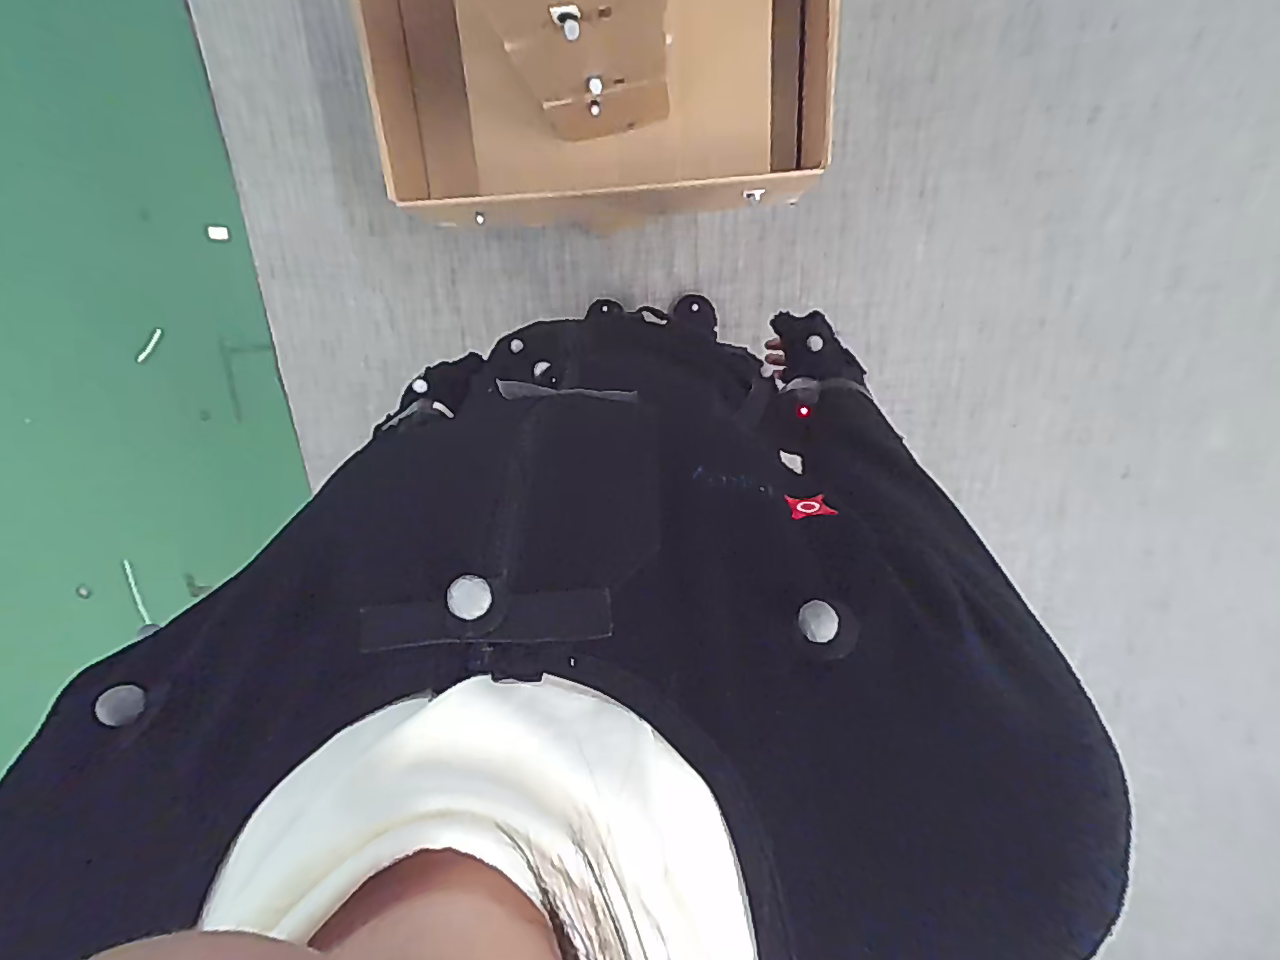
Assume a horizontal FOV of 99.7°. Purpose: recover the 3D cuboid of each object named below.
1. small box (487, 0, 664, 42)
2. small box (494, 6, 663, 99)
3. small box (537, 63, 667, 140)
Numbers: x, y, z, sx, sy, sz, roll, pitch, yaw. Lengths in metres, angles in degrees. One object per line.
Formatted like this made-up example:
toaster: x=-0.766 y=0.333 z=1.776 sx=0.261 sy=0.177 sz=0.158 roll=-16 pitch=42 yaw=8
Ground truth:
small box: x=-0.072 y=-0.500 z=0.430 sx=0.168 sy=0.176 sz=0.179 roll=-7 pitch=109 yaw=8
small box: x=-0.067 y=-0.552 z=0.583 sx=0.168 sy=0.176 sz=0.179 roll=-7 pitch=108 yaw=7
small box: x=-0.056 y=-0.601 z=0.740 sx=0.168 sy=0.176 sz=0.179 roll=-8 pitch=107 yaw=8
